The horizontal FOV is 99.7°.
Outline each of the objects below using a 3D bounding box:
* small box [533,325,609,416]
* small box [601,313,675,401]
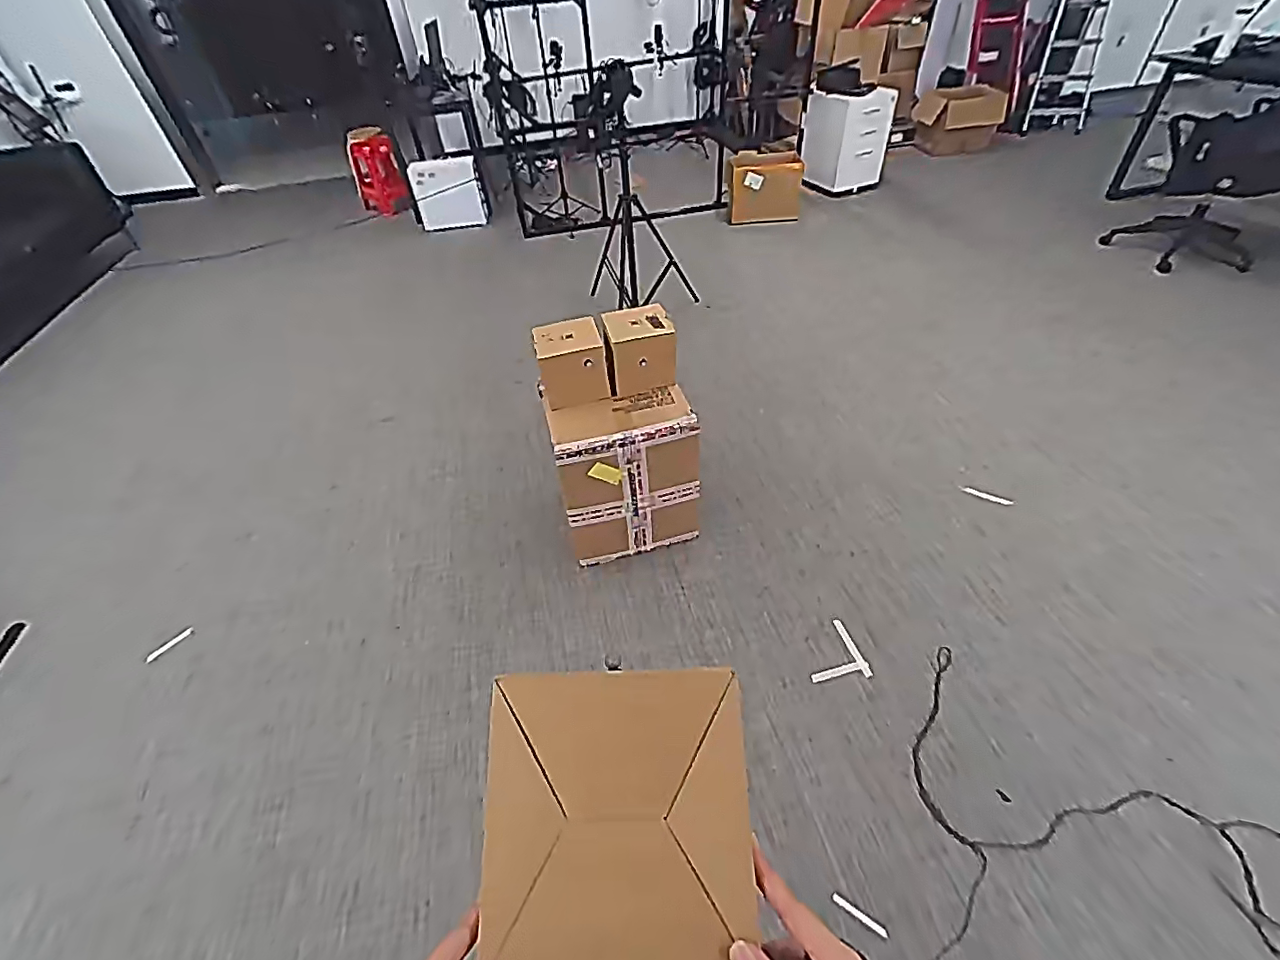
[{"bbox_3d":[-0.189,-0.305,1.510,0.179,0.176,0.168,-14,45,-5],"label":"small box"},{"bbox_3d":[-0.006,-0.349,1.537,0.179,0.176,0.168,-12,45,-8],"label":"small box"}]
